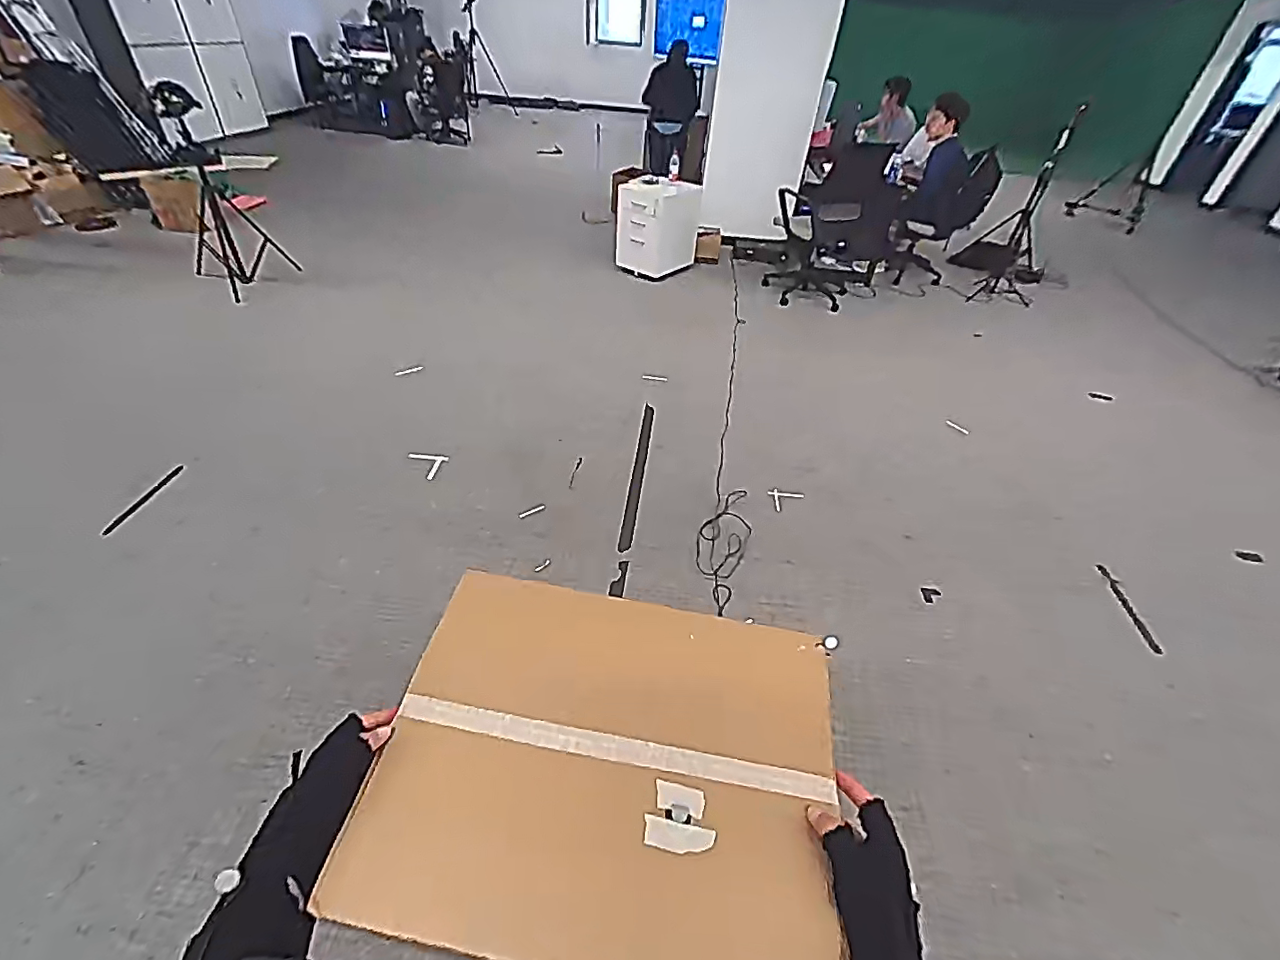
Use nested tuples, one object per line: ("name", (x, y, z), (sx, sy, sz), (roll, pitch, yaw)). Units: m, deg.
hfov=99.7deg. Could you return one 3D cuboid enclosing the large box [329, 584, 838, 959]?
("large box", (-0.037, 0.359, 0.615), (0.408, 0.320, 0.320), (10, 46, 4))
